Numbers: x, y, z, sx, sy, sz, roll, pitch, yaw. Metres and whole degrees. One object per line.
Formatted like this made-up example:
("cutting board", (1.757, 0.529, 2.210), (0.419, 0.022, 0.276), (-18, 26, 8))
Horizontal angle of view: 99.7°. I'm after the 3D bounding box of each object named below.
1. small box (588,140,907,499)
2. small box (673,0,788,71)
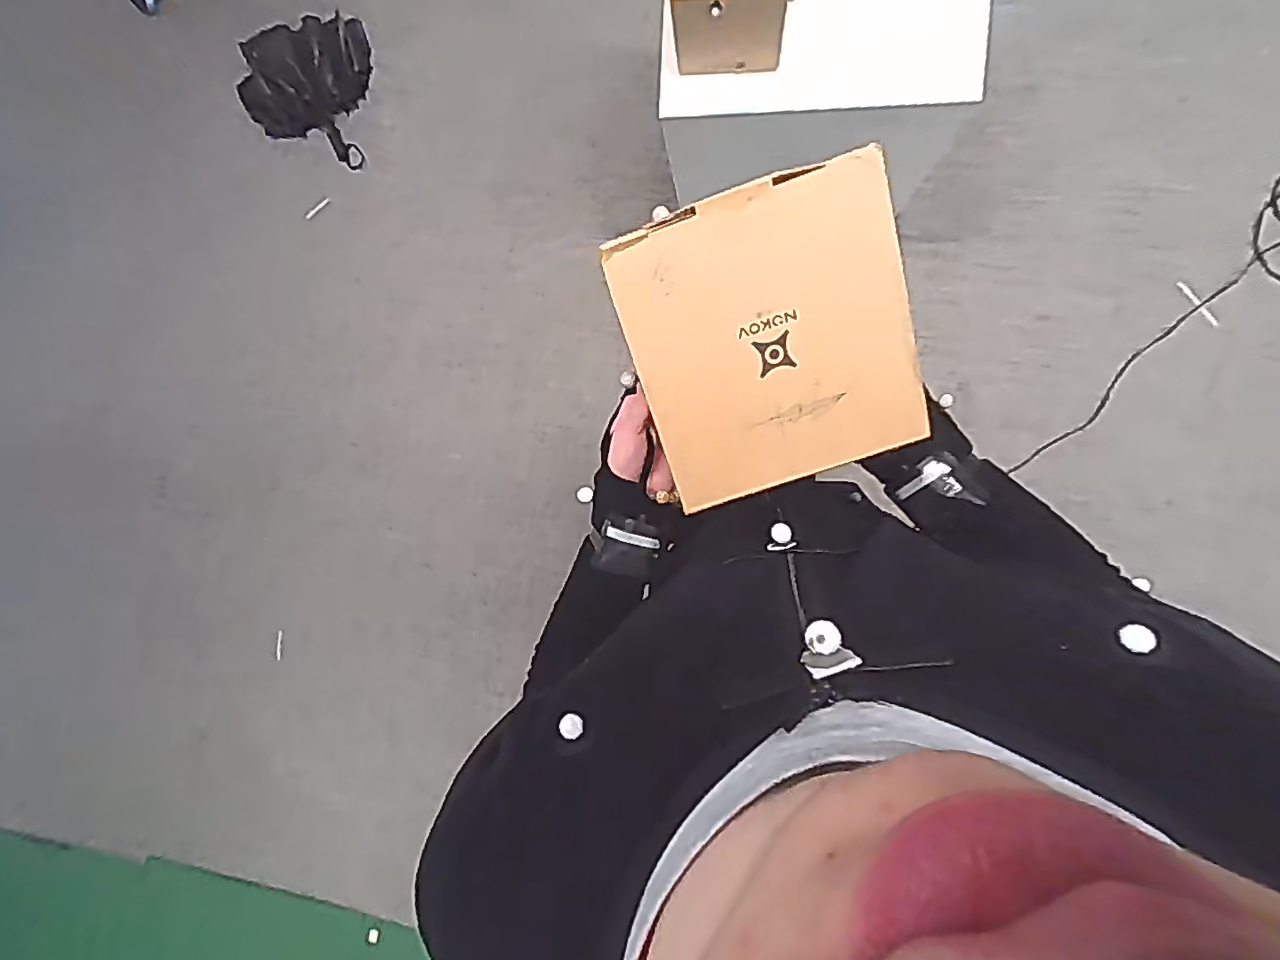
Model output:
("small box", (0.069, -0.113, 0.403), (0.168, 0.176, 0.179), (-17, 110, 6))
("small box", (0.137, -0.756, 0.803), (0.168, 0.176, 0.179), (5, 95, 9))
